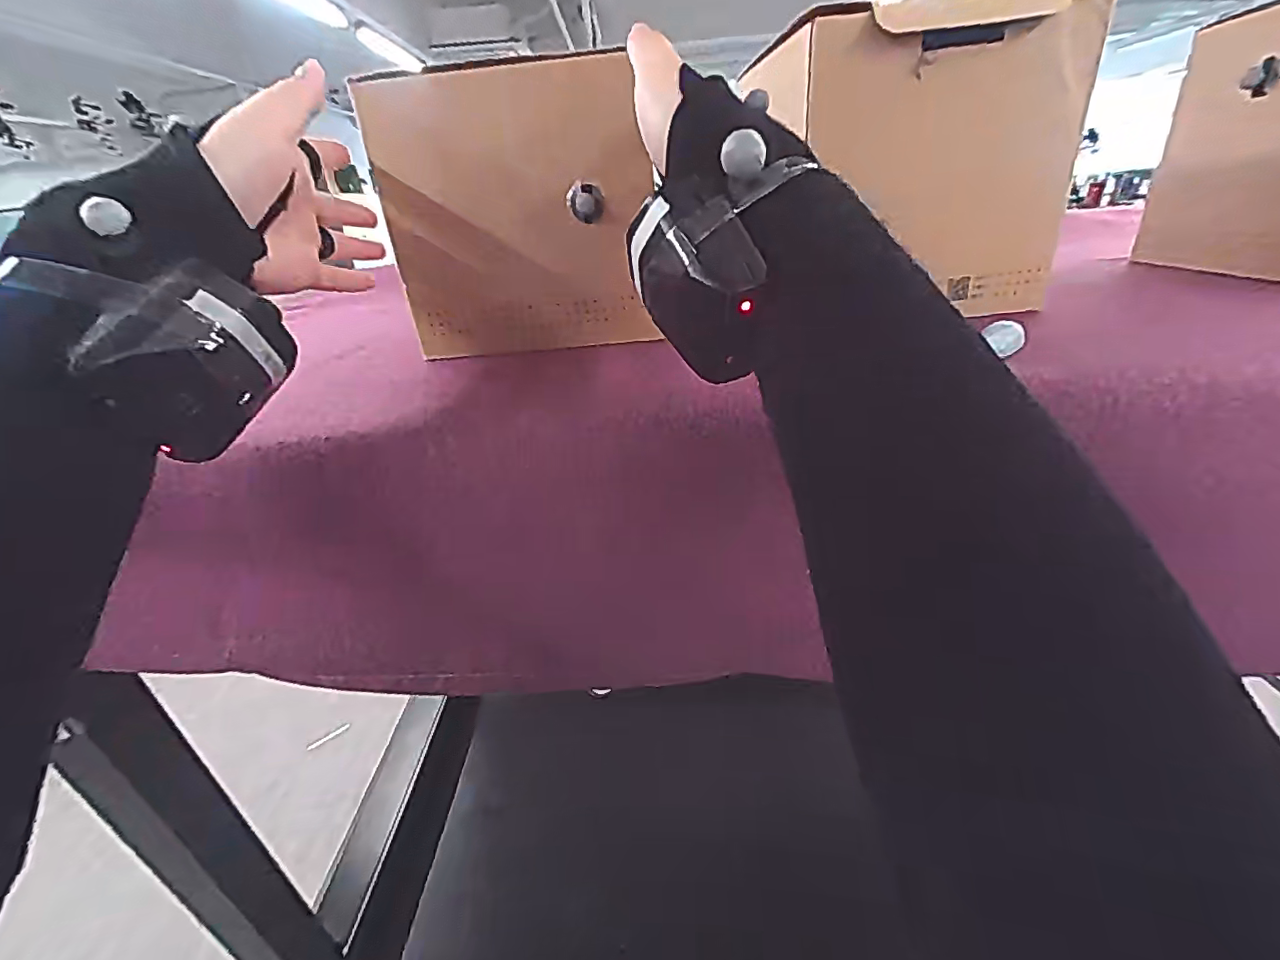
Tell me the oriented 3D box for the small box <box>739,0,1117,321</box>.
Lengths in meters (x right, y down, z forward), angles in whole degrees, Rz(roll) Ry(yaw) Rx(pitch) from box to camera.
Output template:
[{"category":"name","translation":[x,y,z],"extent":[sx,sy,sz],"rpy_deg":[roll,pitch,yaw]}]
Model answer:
[{"category":"small box","translation":[0.171,-0.213,0.381],"extent":[0.168,0.176,0.179],"rpy_deg":[-6,27,-1]}]

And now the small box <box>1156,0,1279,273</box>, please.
[{"category":"small box","translation":[0.501,-0.230,0.347],"extent":[0.168,0.176,0.179],"rpy_deg":[-3,27,7]}]

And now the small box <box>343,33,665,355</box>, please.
[{"category":"small box","translation":[-0.072,-0.200,0.403],"extent":[0.179,0.176,0.168],"rpy_deg":[-5,27,3]}]
